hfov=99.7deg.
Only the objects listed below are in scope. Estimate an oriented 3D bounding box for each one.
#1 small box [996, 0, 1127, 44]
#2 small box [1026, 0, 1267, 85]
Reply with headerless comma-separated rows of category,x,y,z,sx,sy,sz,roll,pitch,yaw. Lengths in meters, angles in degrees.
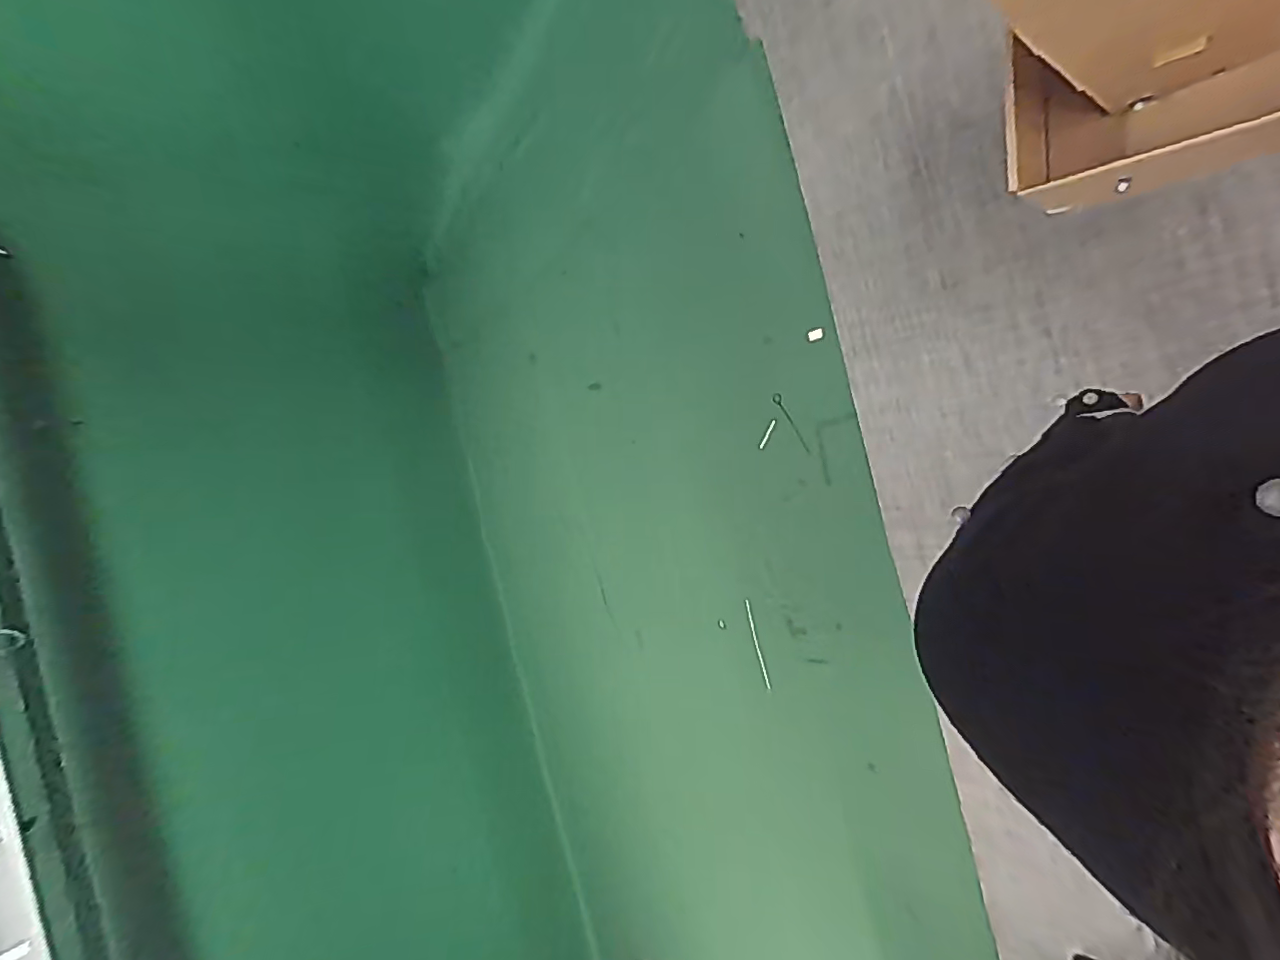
small box,0.383,-0.500,0.430,0.179,0.176,0.168,0,102,49
small box,0.506,-0.536,0.534,0.179,0.176,0.168,1,102,49
